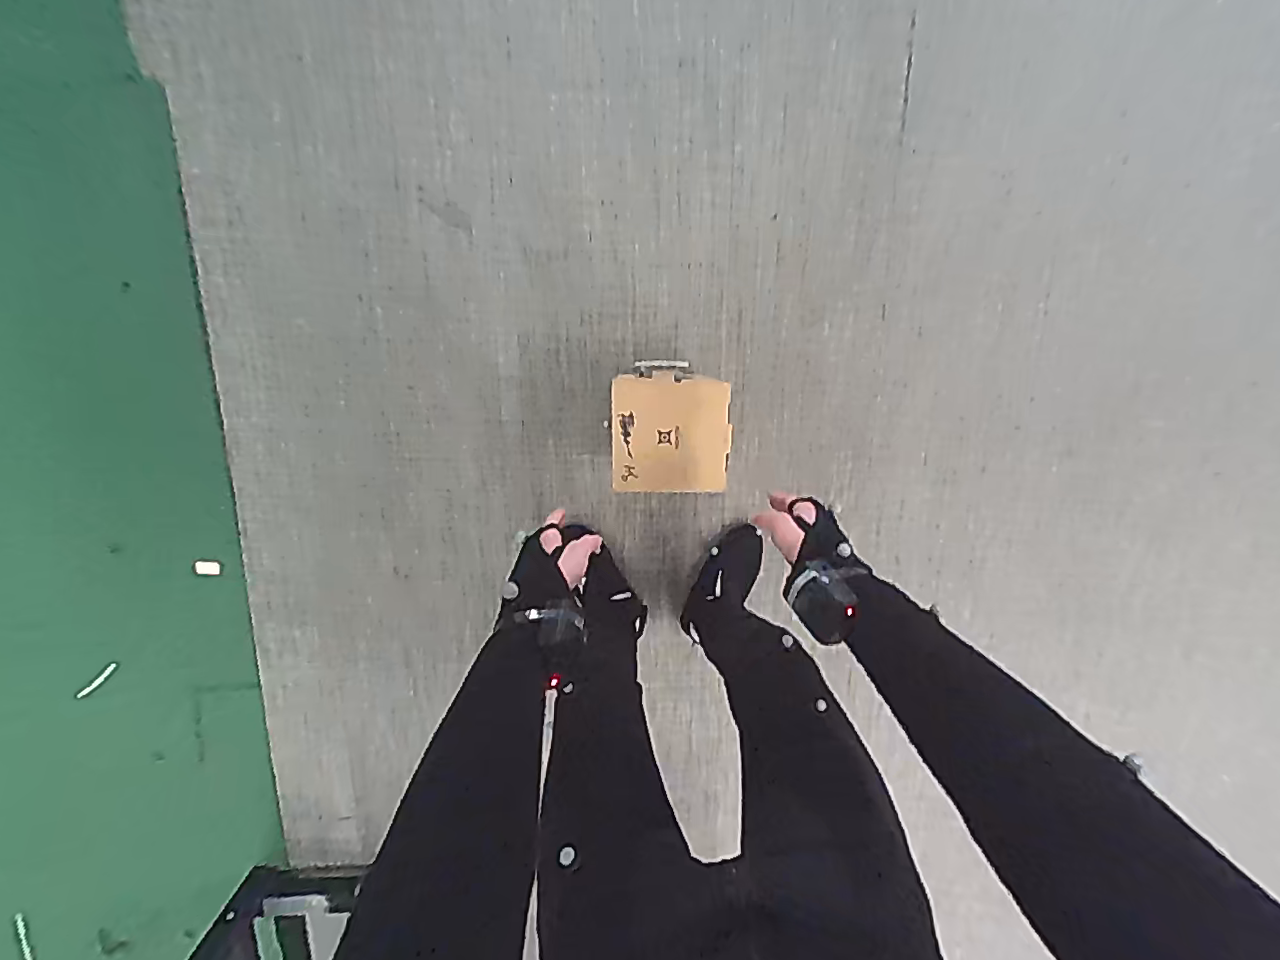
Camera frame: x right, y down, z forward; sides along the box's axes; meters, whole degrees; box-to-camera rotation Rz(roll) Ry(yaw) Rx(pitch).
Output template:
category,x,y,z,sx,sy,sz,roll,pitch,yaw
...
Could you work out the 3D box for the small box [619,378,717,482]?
category,x,y,z,sx,sy,sz,roll,pitch,yaw
small box,0.045,-0.101,1.019,0.168,0.176,0.179,2,102,-1
